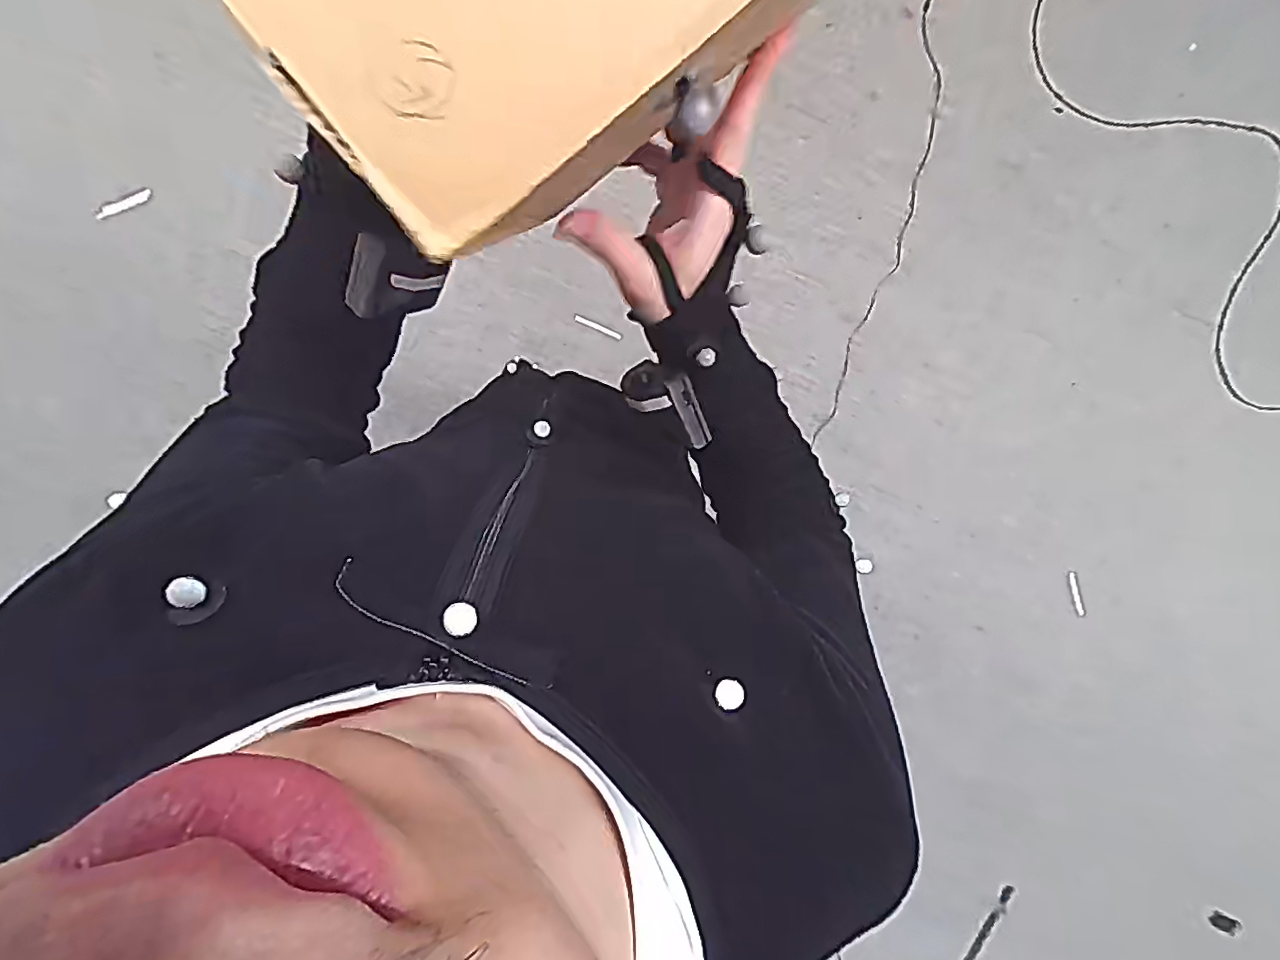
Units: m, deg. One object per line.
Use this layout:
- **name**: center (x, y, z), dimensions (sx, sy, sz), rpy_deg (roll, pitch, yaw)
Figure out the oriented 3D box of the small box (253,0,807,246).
- **small box**: center (-0.028, -0.209, 0.175), dimensions (0.179, 0.176, 0.168), rpy_deg (-31, 115, 20)
